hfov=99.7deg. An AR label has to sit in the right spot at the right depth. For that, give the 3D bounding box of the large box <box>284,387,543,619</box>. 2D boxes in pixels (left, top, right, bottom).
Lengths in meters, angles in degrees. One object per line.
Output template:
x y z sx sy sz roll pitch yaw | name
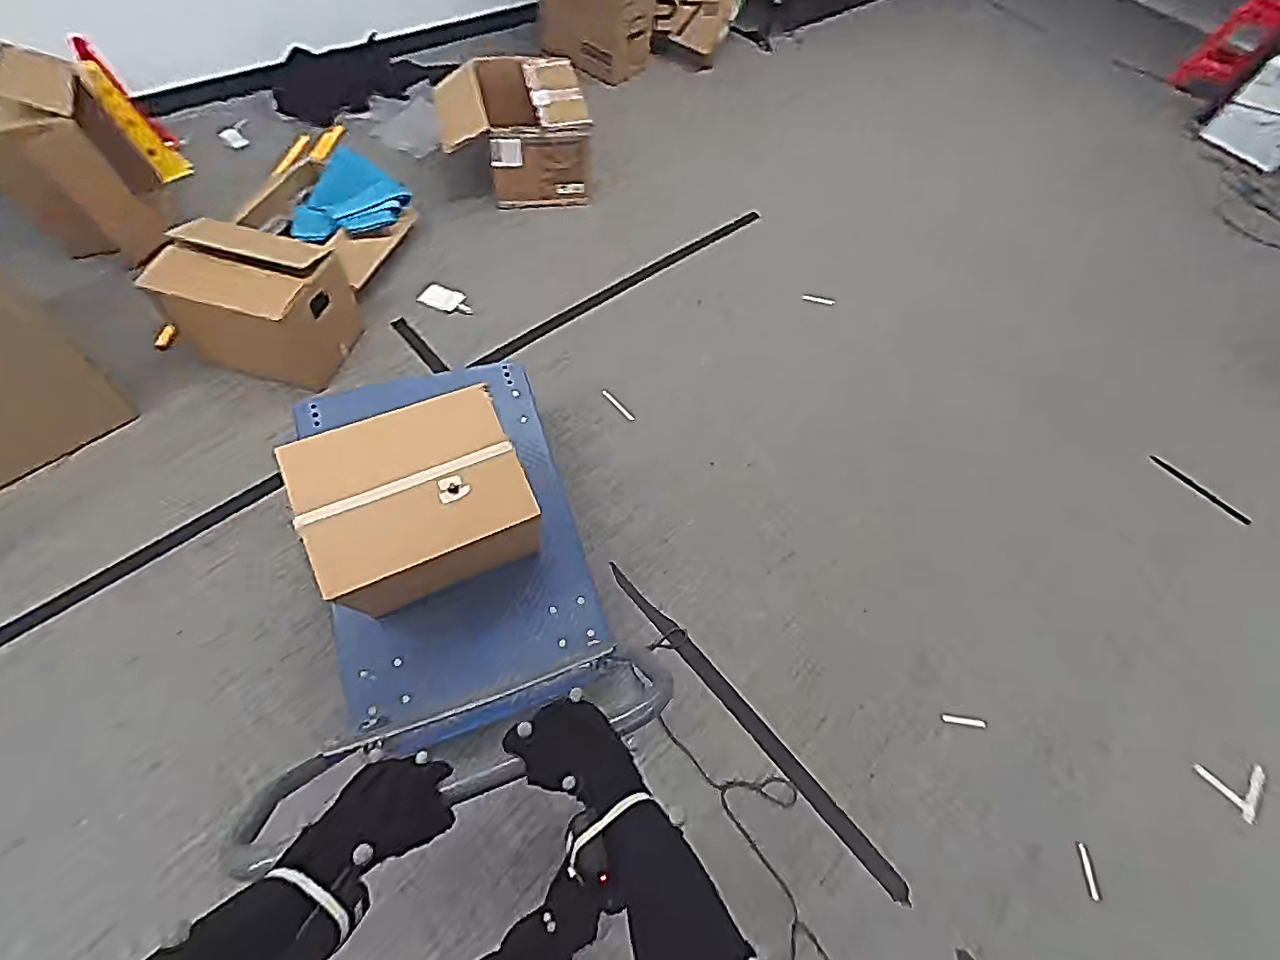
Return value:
-0.458 0.060 1.175 0.408 0.320 0.320 -23 76 -19 | large box
